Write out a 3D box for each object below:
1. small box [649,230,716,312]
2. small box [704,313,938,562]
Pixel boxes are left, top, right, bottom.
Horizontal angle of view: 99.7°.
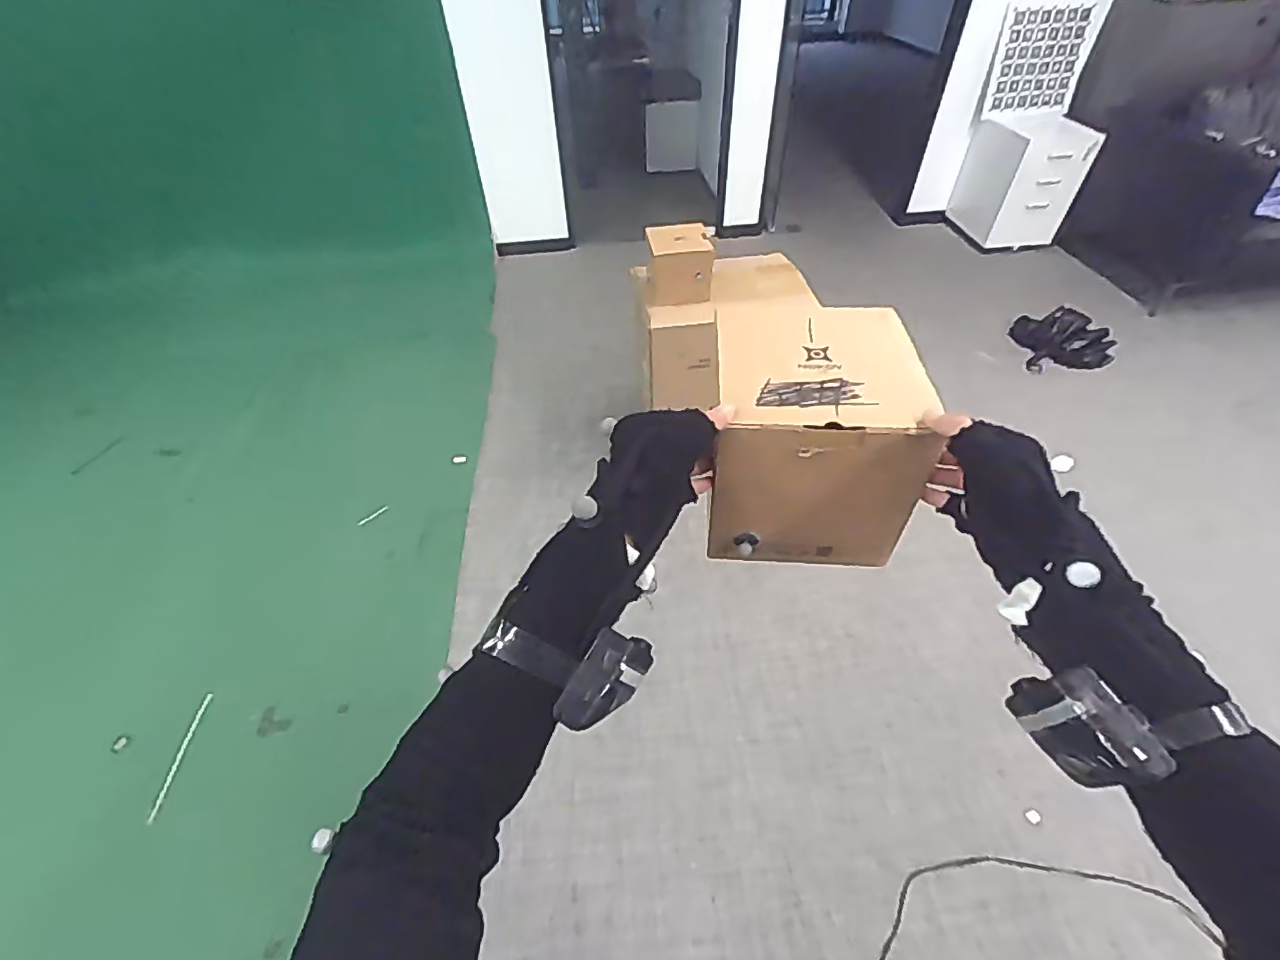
[{"bbox_3d":[0.125,-0.636,1.649,0.179,0.176,0.168,-9,50,-3],"label":"small box"},{"bbox_3d":[0.147,-0.040,0.510,0.168,0.176,0.179,2,45,5],"label":"small box"}]
